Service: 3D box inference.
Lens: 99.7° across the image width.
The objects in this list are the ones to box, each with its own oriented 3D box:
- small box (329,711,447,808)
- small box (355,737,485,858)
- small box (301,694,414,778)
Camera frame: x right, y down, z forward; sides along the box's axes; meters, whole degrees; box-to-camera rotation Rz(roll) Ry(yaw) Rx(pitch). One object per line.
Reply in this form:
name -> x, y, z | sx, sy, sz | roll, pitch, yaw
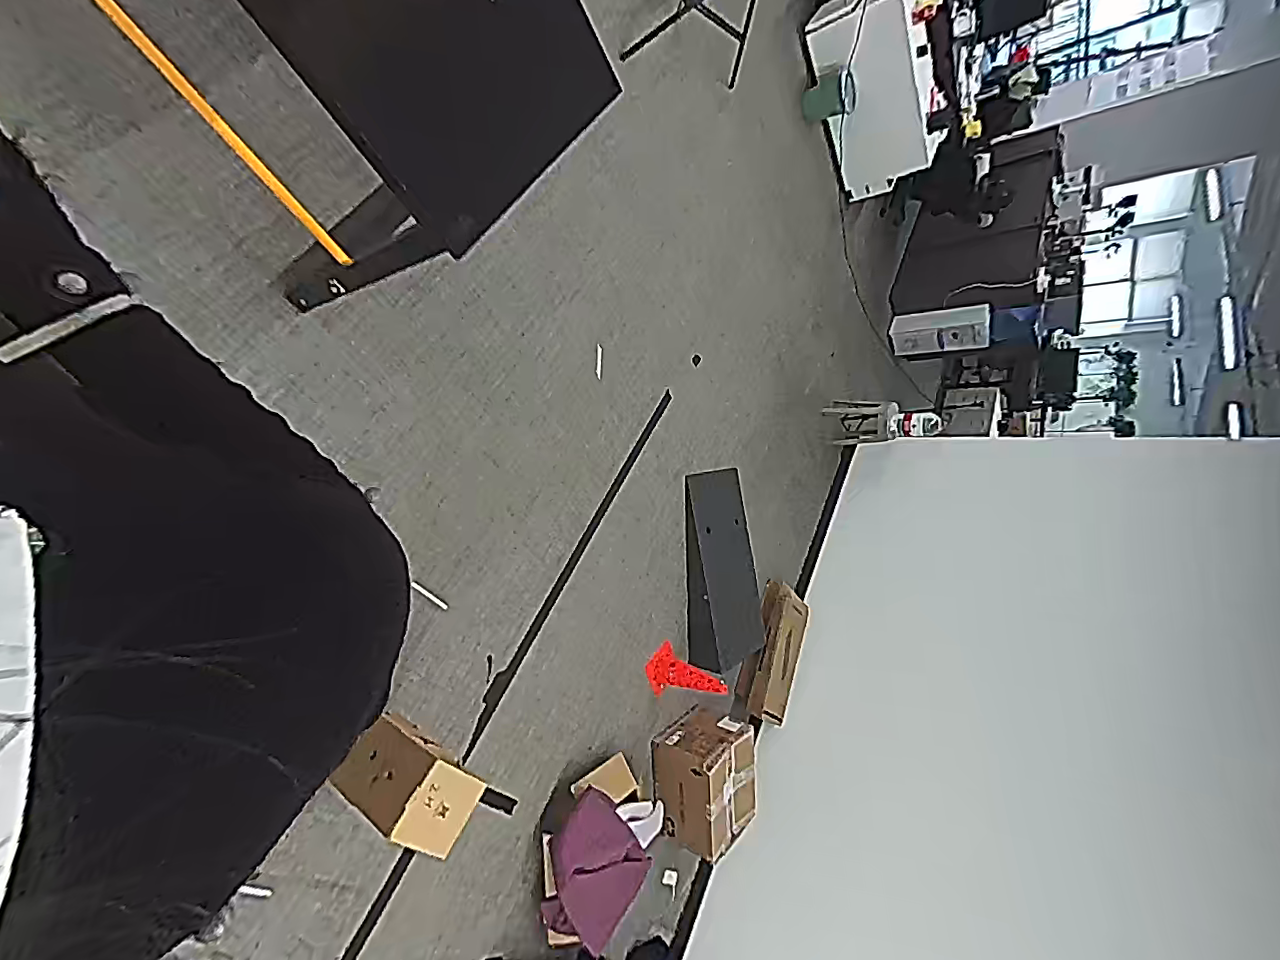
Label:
small box -> -0.625, 0.701, 1.335 | 0.168, 0.176, 0.179 | 52, 55, -38
small box -> -0.499, 0.714, 1.229 | 0.179, 0.176, 0.168 | 55, 53, -36
small box -> -0.752, 0.691, 1.440 | 0.179, 0.176, 0.168 | 47, 58, -40
